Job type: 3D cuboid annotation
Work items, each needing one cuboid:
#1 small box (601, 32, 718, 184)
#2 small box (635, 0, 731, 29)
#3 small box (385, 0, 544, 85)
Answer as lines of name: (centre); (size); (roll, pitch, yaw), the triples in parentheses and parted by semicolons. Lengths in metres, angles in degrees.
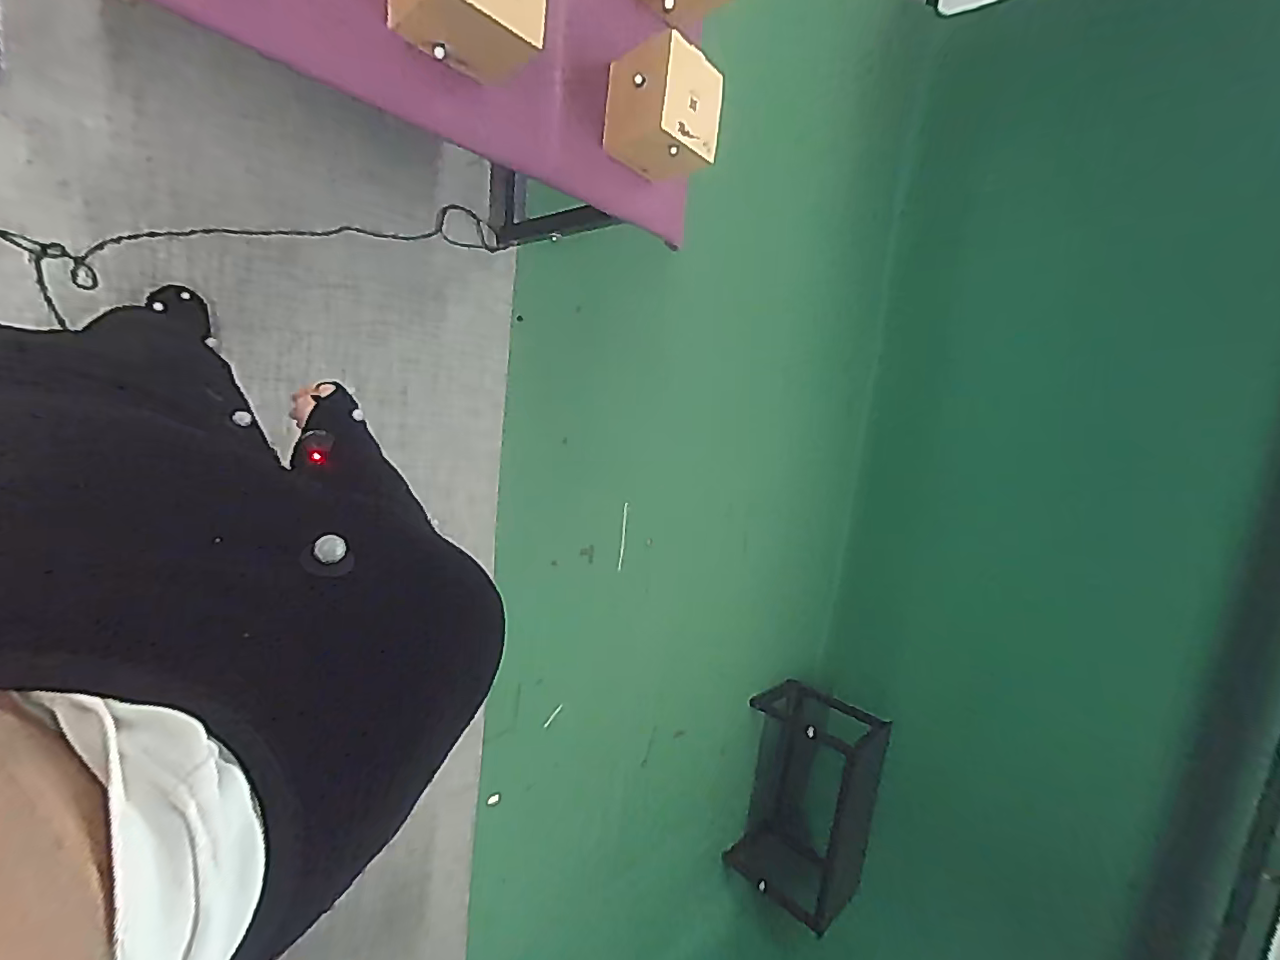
small box: (0.037, -0.742, 1.103); (0.168, 0.176, 0.179); (1, 97, -46)
small box: (0.081, -1.055, 1.066); (0.168, 0.176, 0.179); (-3, 103, -44)
small box: (-0.255, -0.732, 0.789); (0.168, 0.176, 0.179); (-2, 101, -47)
